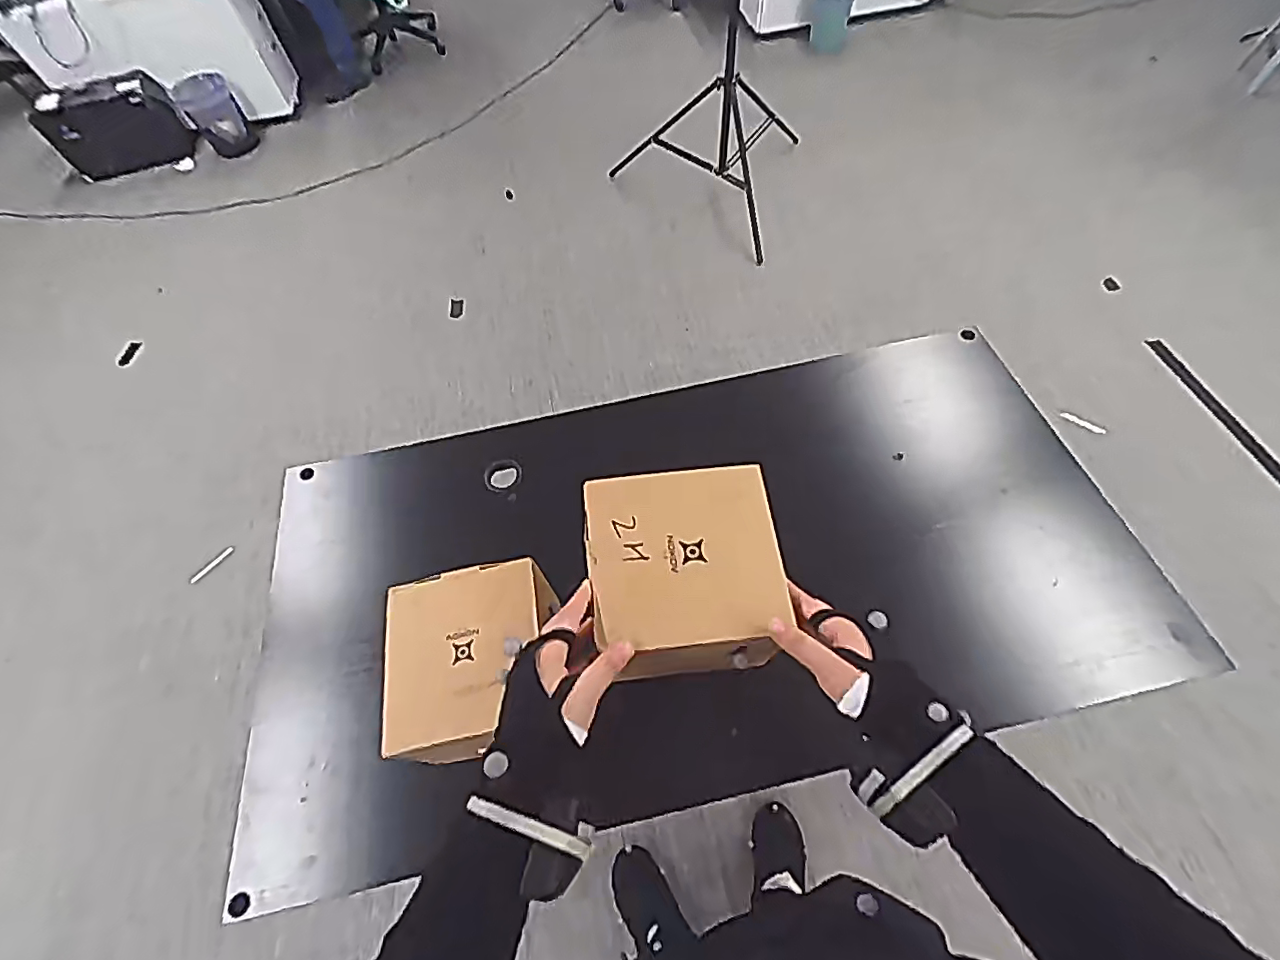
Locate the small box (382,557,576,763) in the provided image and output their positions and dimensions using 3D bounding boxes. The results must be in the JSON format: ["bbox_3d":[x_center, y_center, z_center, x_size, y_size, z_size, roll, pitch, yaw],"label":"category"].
[{"bbox_3d":[-0.178,0.214,0.630,0.168,0.176,0.179,-13,60,-2],"label":"small box"}]
